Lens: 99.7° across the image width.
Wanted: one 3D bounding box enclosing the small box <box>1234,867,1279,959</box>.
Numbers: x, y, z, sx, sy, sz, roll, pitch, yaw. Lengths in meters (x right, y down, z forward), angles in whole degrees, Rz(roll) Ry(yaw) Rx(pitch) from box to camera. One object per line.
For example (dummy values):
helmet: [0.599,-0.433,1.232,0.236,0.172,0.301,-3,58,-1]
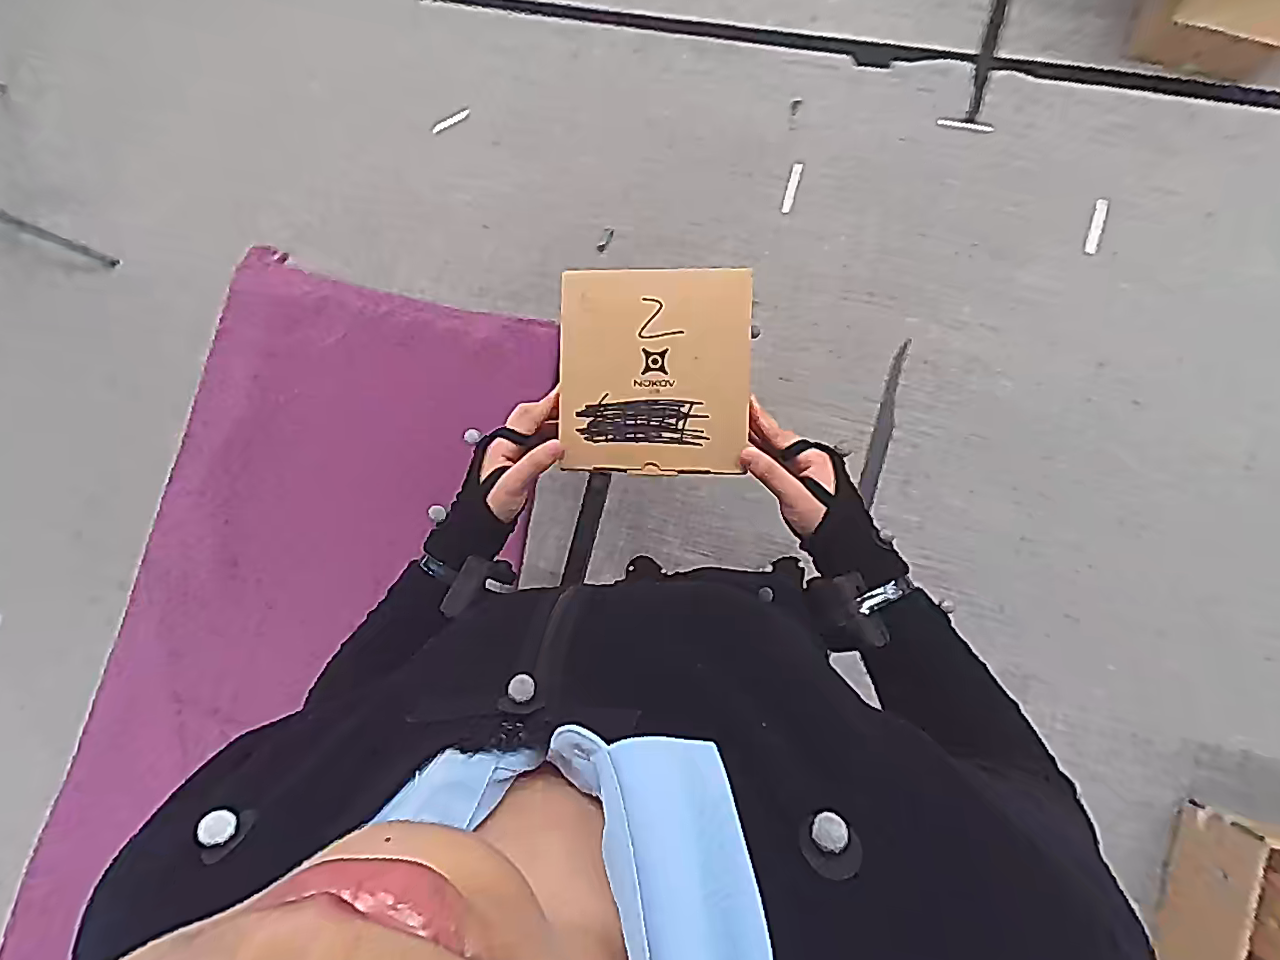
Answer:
small box: [1.422,0.958,1.130,0.179,0.176,0.168,12,88,8]
